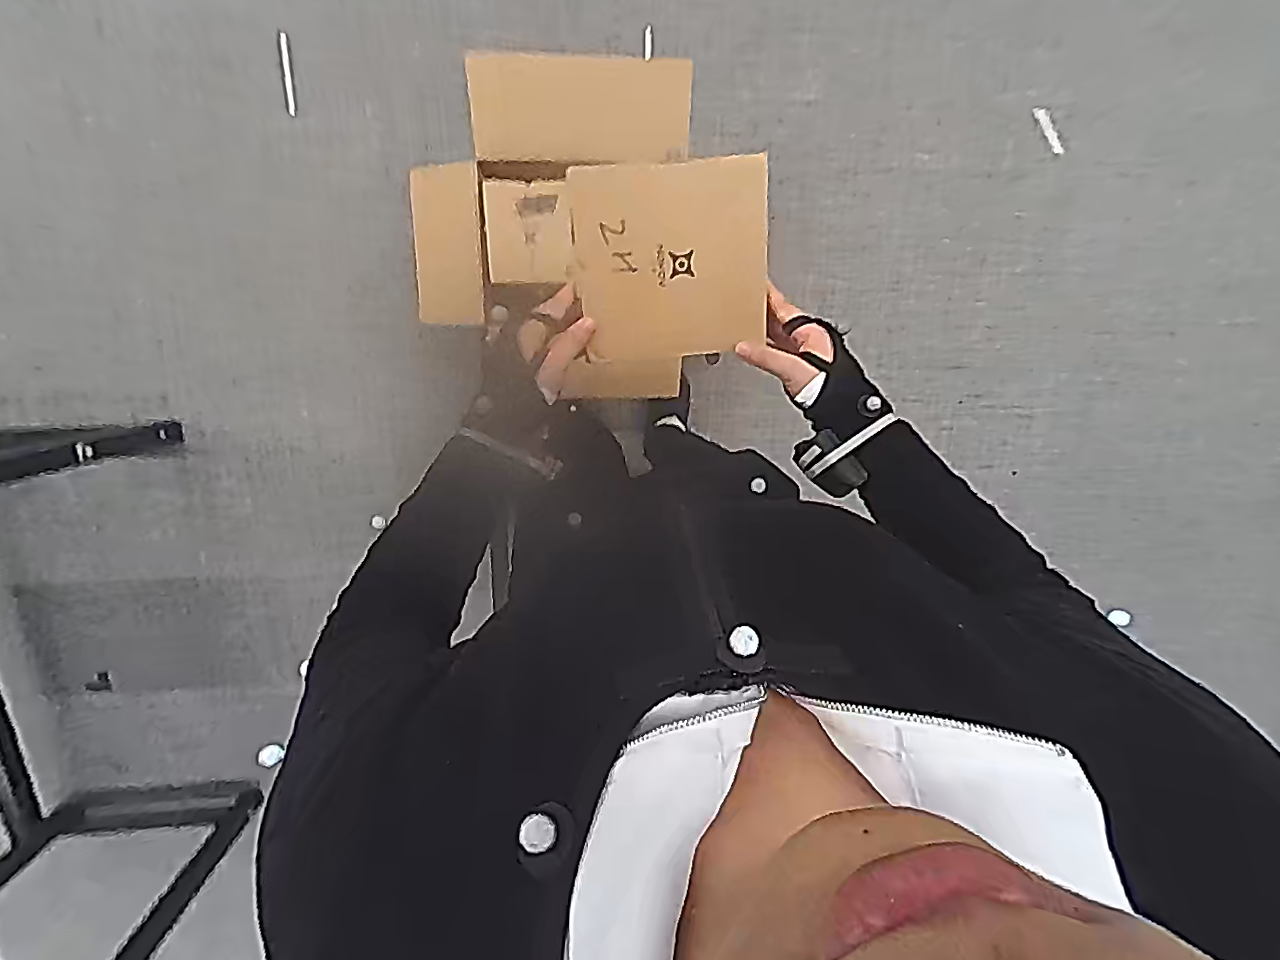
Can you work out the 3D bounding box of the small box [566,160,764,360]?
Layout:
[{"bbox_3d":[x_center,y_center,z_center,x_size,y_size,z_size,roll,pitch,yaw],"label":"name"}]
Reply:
[{"bbox_3d":[0.022,-0.227,0.569,0.179,0.176,0.168,-5,112,-1],"label":"small box"}]
